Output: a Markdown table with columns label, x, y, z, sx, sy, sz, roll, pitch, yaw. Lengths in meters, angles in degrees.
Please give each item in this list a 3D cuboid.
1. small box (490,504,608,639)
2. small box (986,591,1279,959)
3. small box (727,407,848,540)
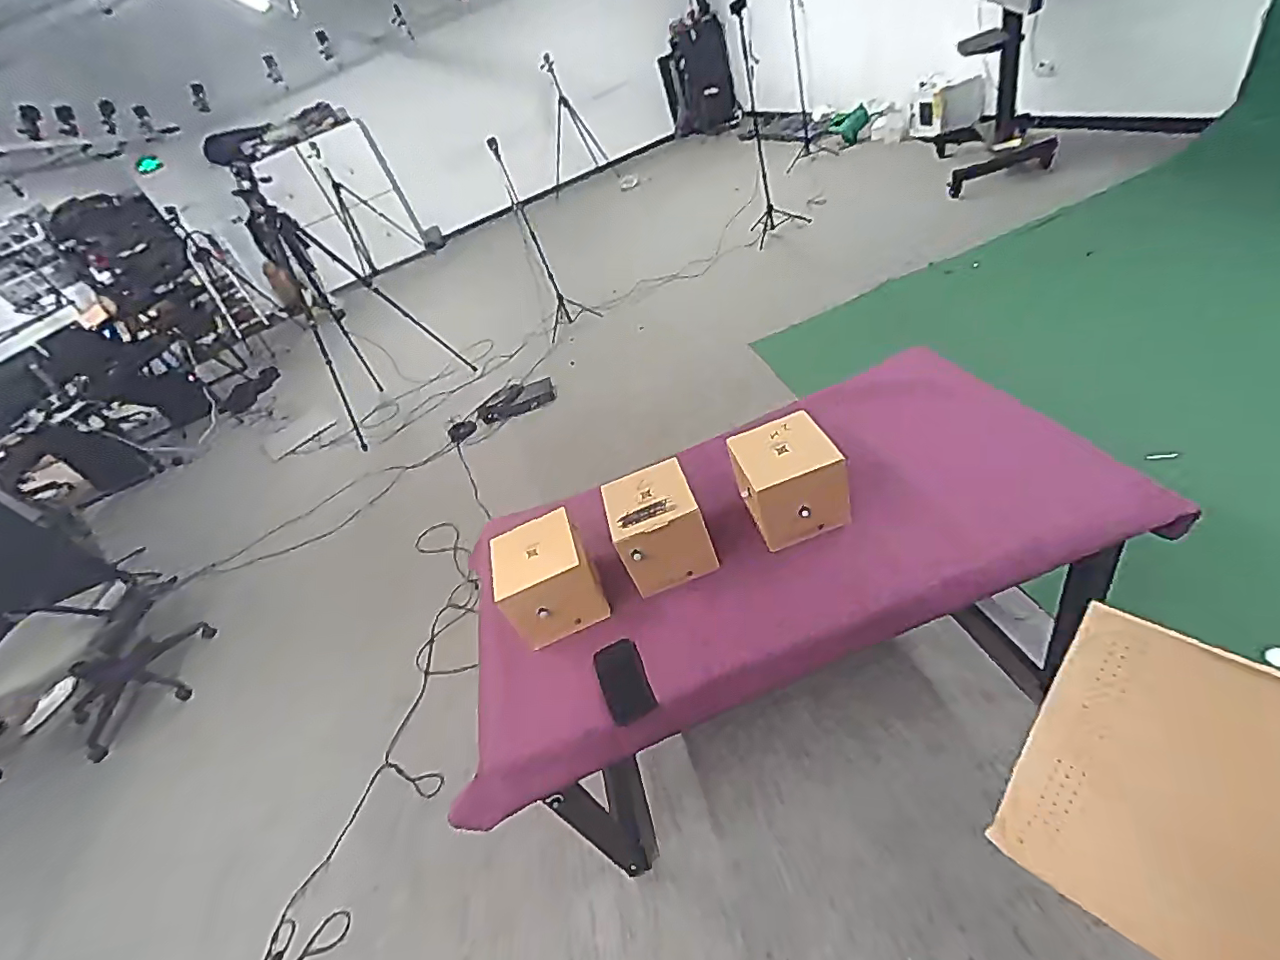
| label | x | y | z | sx | sy | sz | roll | pitch | yaw |
| --- | --- | --- | --- | --- | --- | --- | --- | --- | --- |
| small box | -0.176 | 0.186 | 1.060 | 0.168 | 0.176 | 0.179 | -25 | 37 | -1 |
| small box | 0.359 | 0.191 | 0.353 | 0.176 | 0.168 | 0.179 | 25 | 92 | 45 |
| small box | 0.286 | -0.005 | 1.045 | 0.168 | 0.176 | 0.179 | -20 | 38 | 3 |
